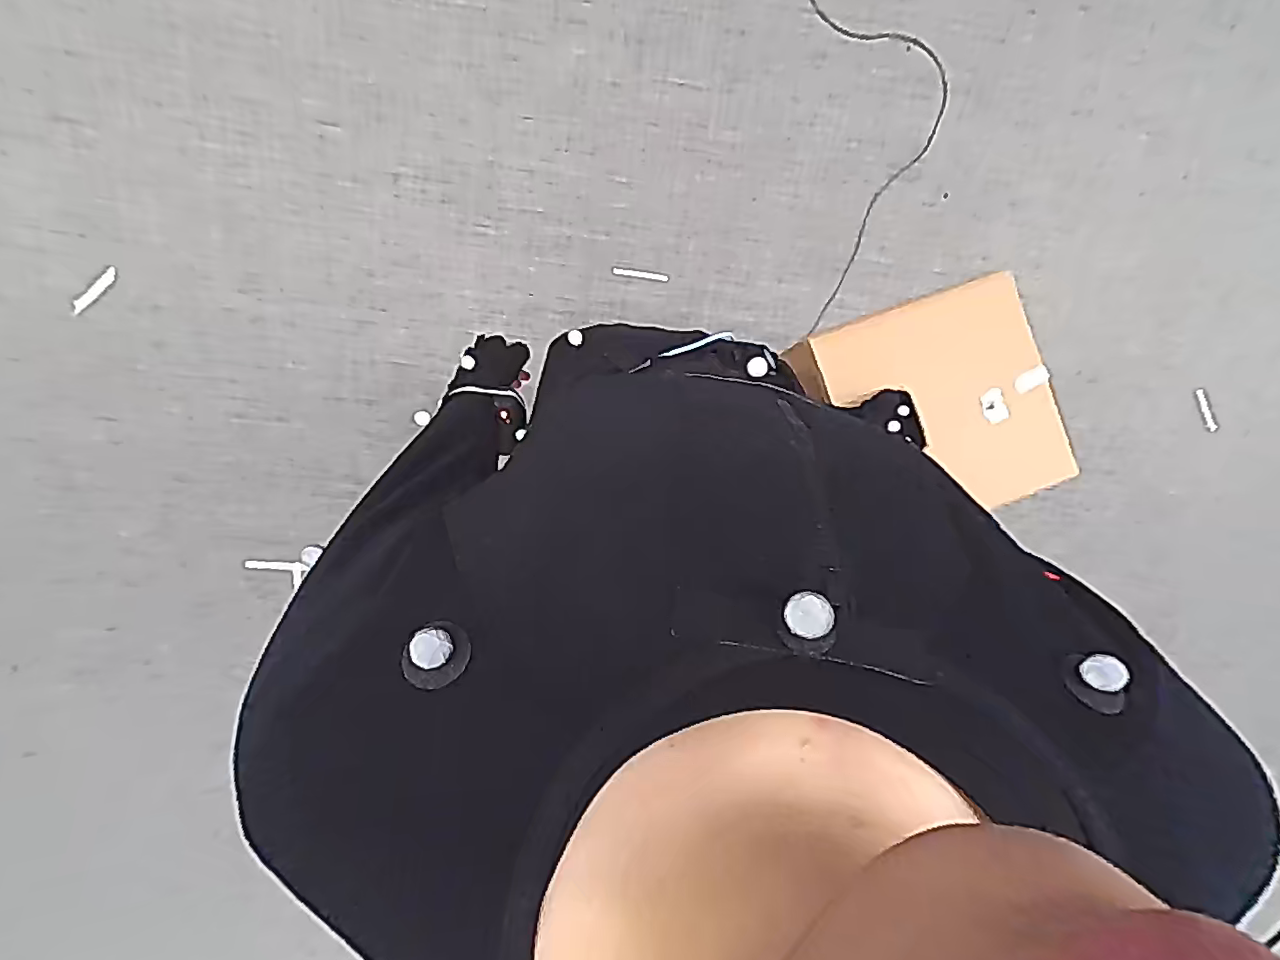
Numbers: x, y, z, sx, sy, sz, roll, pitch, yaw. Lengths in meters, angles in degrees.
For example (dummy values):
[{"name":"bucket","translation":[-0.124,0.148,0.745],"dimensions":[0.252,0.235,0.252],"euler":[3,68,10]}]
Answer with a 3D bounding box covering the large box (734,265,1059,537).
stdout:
[{"name":"large box","translation":[0.402,-0.116,0.955],"dimensions":[0.320,0.408,0.320],"euler":[-20,92,-3]}]
